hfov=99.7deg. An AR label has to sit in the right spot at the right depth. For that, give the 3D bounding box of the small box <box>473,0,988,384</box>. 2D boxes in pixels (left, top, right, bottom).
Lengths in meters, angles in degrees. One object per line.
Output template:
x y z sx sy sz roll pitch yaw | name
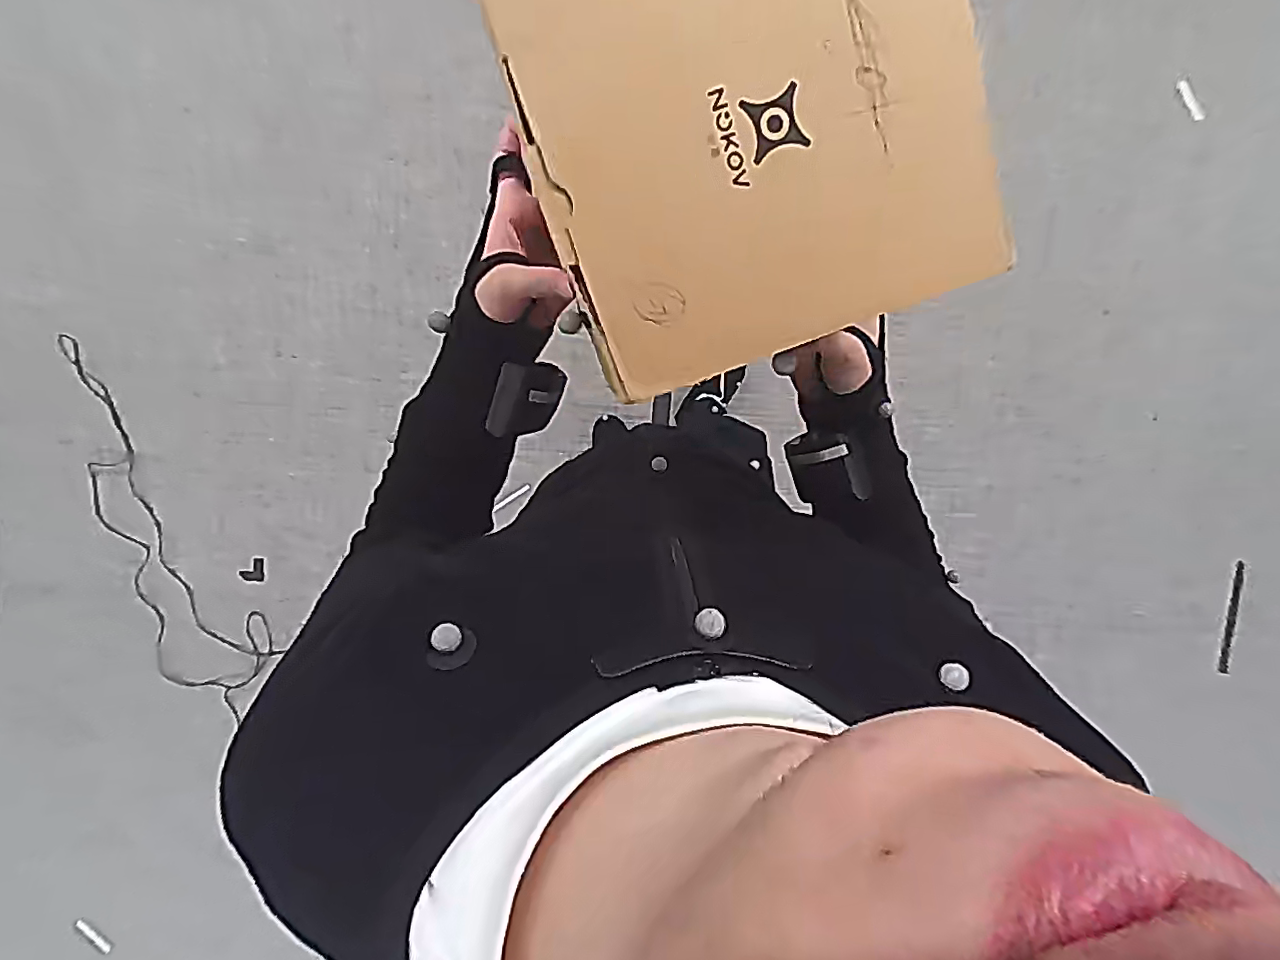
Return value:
0.038 -0.160 0.297 0.179 0.176 0.168 -22 103 -1 | small box
